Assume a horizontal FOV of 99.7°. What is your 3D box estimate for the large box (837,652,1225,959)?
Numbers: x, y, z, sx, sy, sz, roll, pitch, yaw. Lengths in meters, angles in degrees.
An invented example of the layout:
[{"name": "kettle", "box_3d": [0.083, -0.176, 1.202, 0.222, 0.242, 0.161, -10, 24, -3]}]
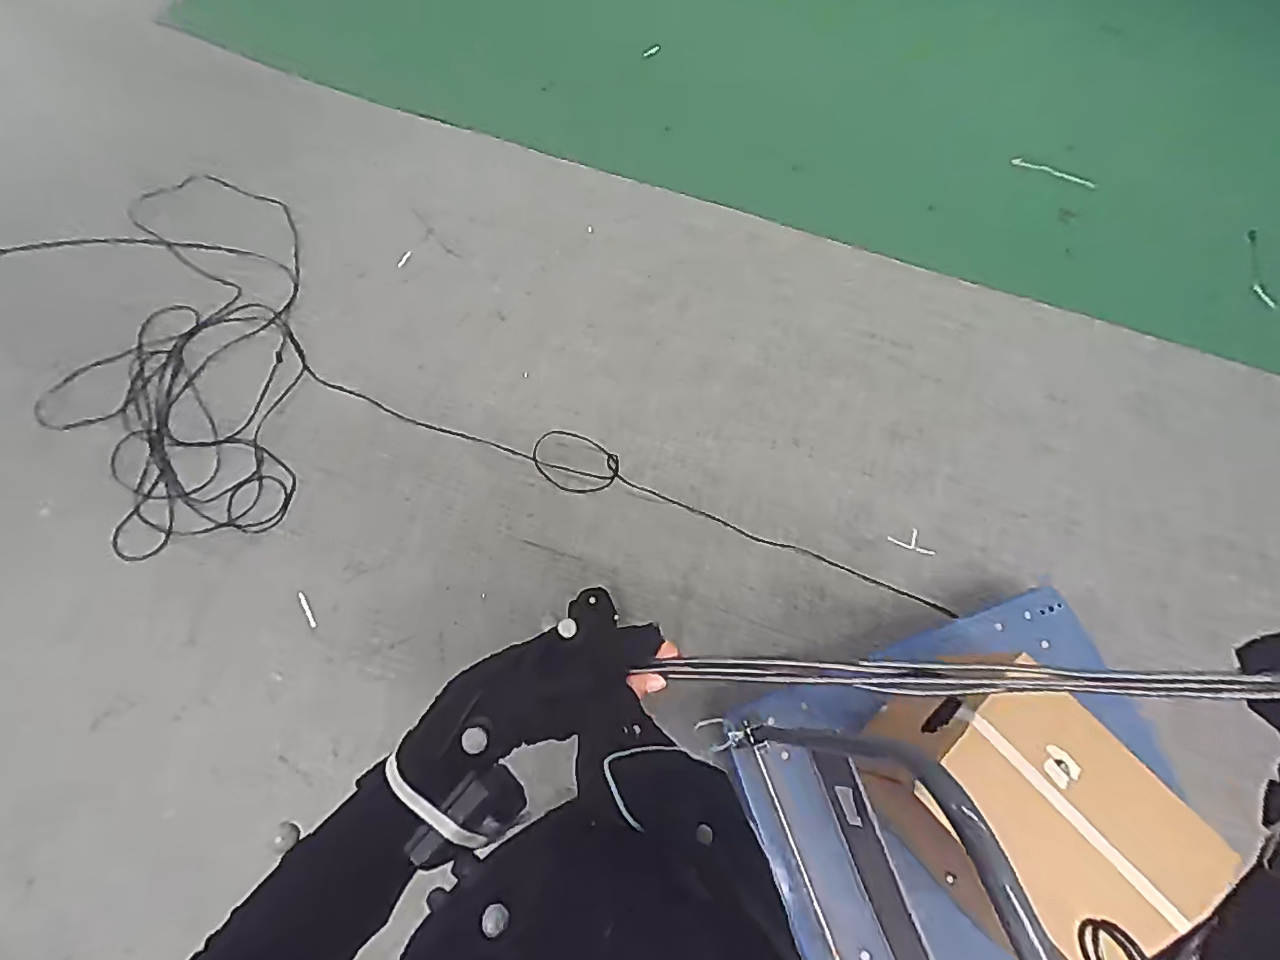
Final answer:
[{"name": "large box", "box_3d": [0.652, 0.575, 0.976, 0.320, 0.320, 0.408, -38, 75, -16]}]
